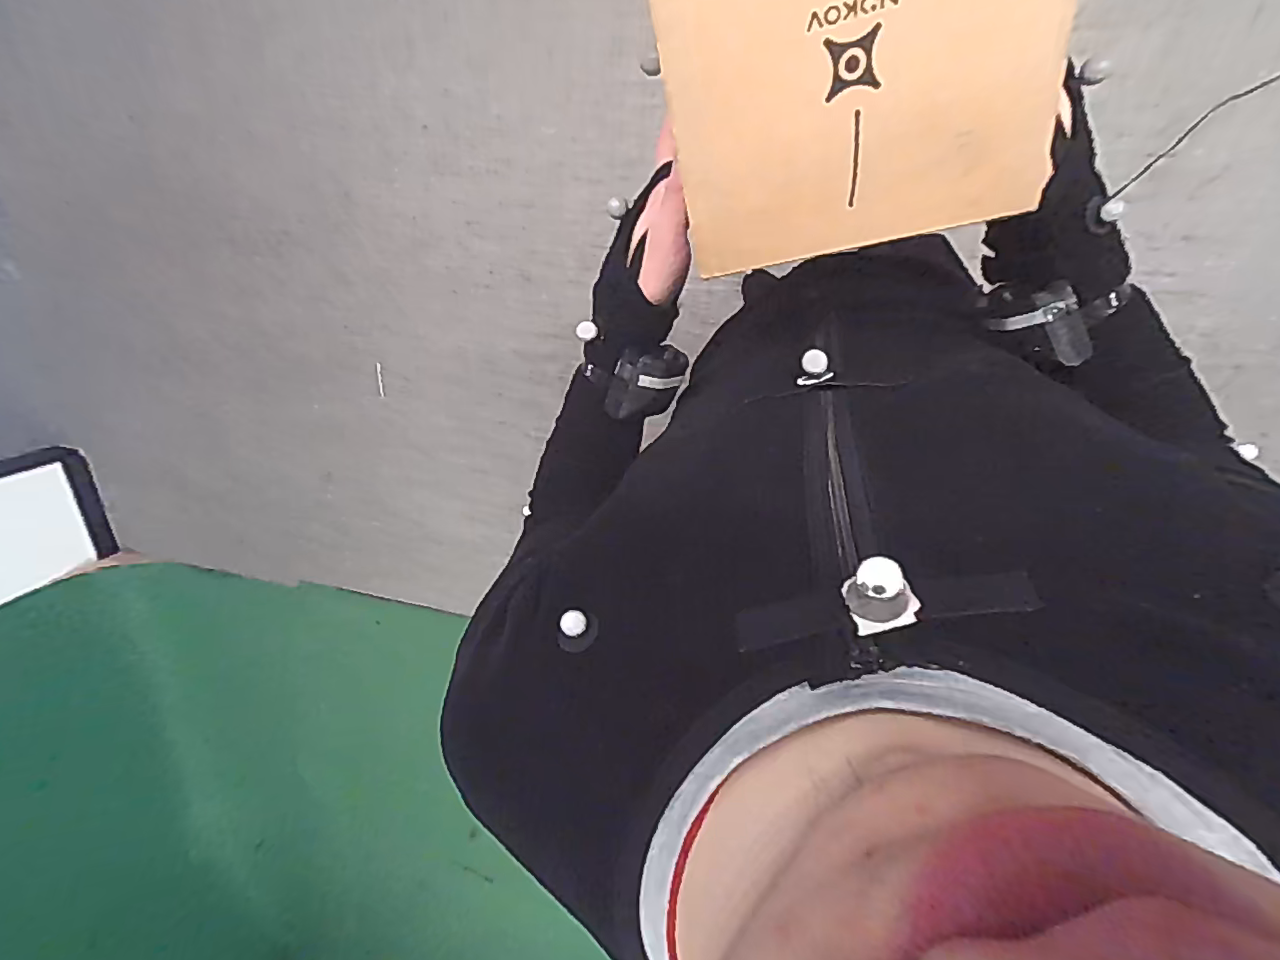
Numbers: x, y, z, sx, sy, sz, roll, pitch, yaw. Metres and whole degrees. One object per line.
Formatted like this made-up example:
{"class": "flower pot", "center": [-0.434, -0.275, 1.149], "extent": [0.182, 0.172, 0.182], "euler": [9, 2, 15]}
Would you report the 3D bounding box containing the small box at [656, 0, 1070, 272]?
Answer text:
{"class": "small box", "center": [0.099, -0.239, 0.291], "extent": [0.168, 0.176, 0.179], "euler": [-6, 129, 13]}
